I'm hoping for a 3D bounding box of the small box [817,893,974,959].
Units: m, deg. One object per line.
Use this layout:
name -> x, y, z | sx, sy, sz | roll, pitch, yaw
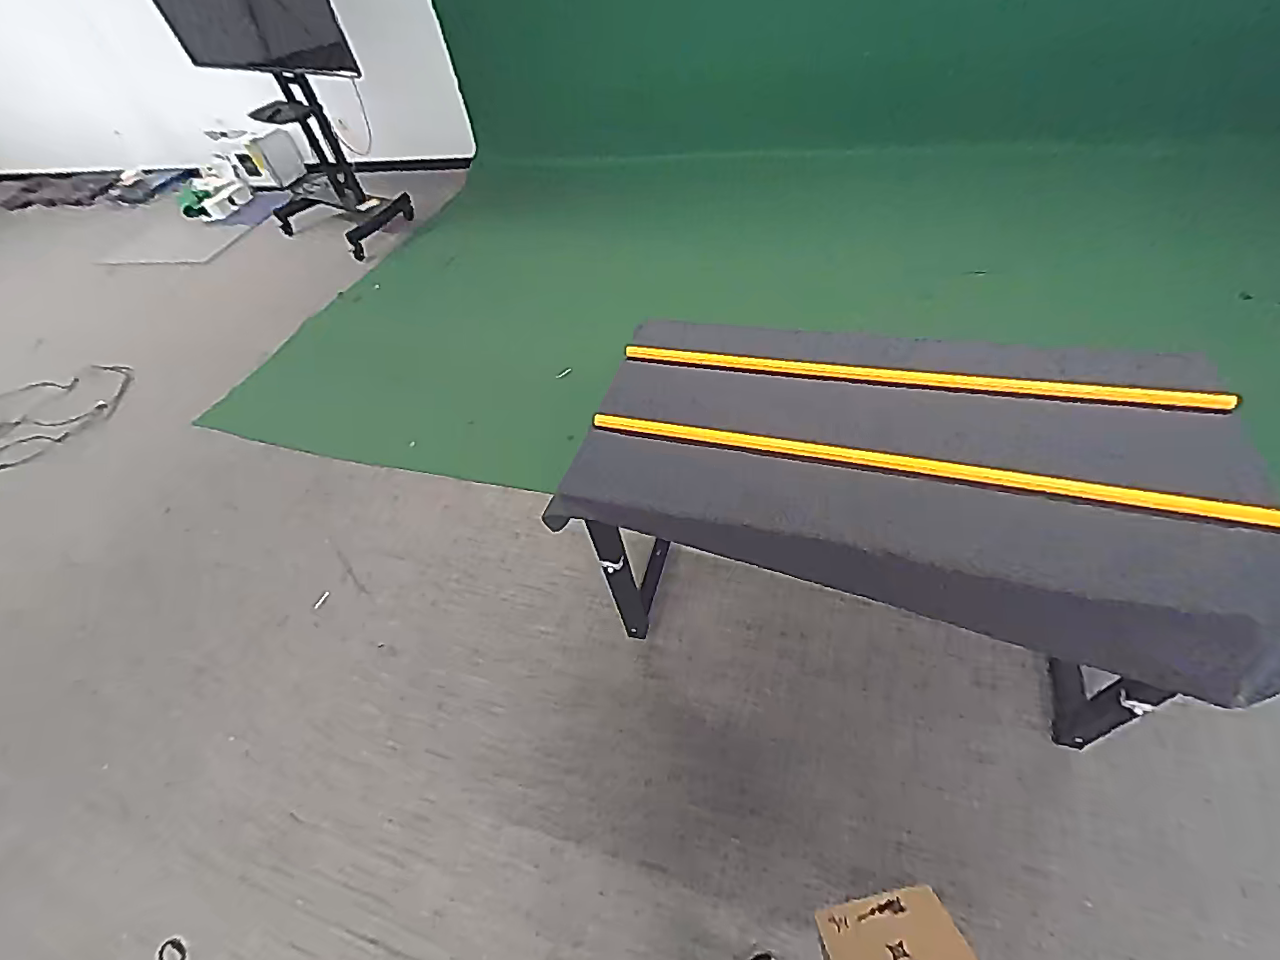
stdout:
small box -> 0.345, 0.672, 0.660 | 0.168, 0.176, 0.179 | -16, 5, -1
